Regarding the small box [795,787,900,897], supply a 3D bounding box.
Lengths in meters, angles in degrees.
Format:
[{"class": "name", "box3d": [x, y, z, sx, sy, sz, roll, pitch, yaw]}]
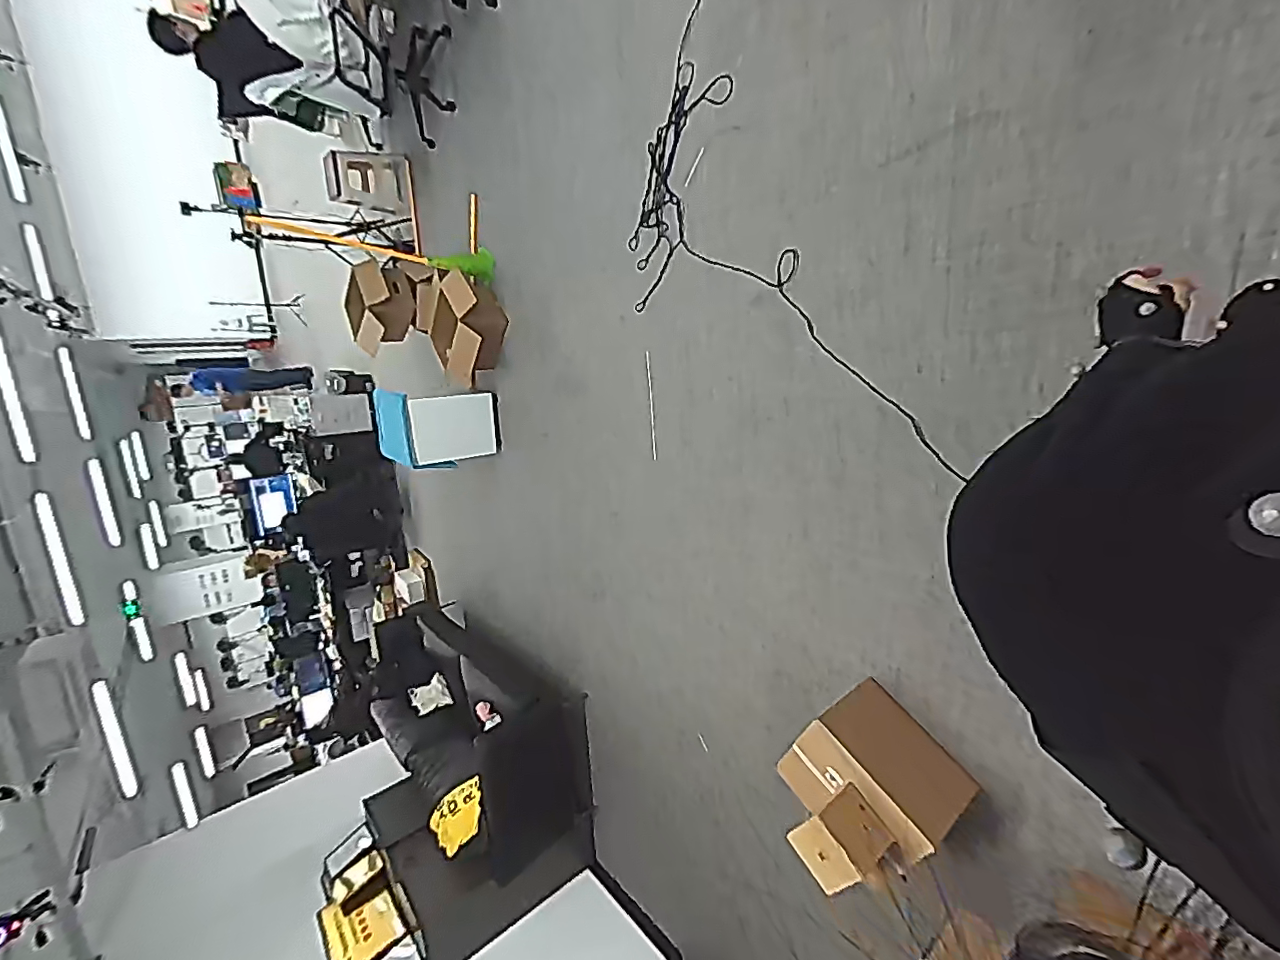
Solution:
[{"class": "small box", "box3d": [0.567, 0.983, 1.474, 0.168, 0.176, 0.179, 50, 136, 32]}]
